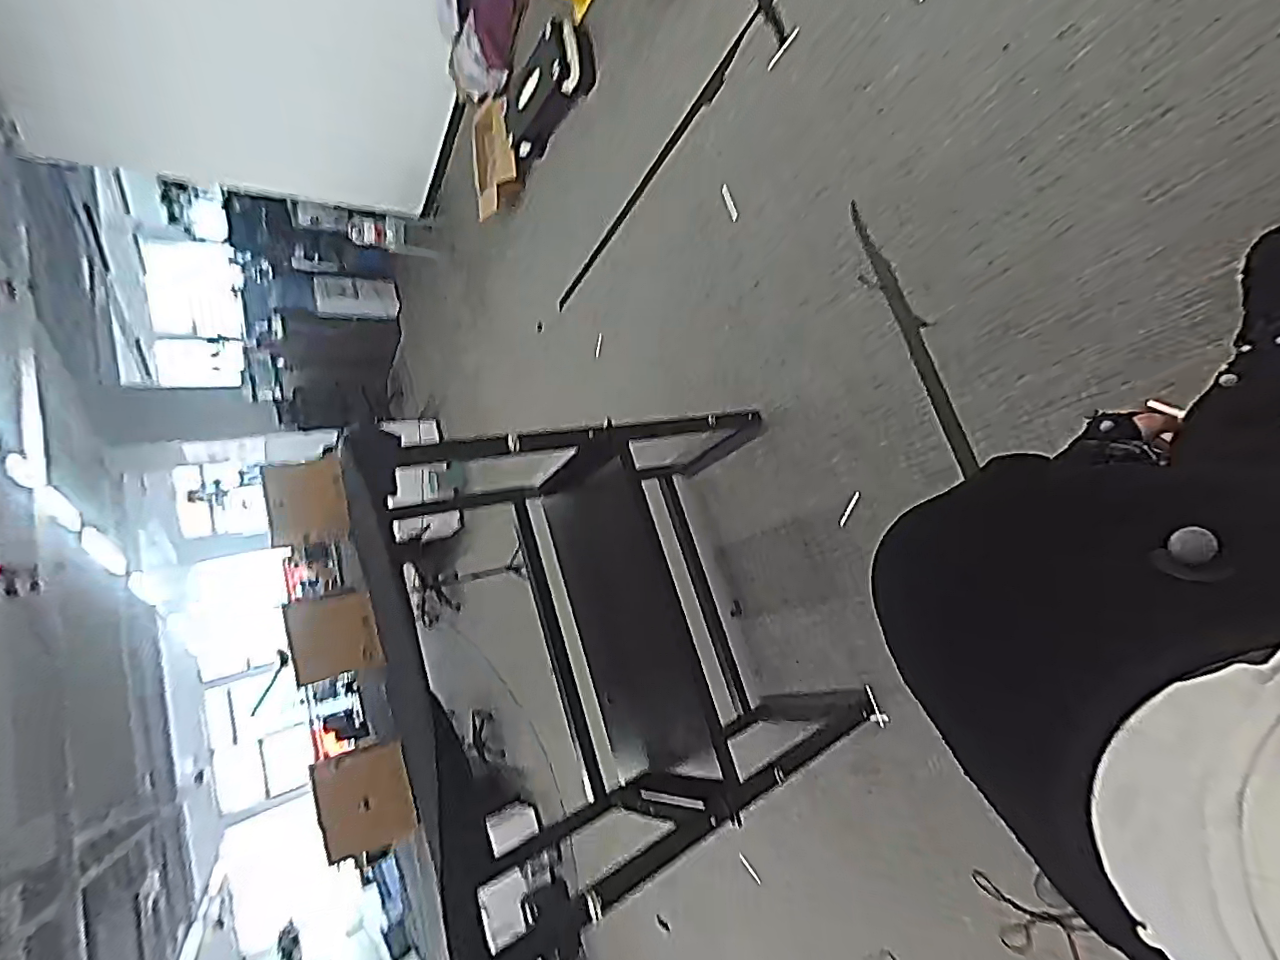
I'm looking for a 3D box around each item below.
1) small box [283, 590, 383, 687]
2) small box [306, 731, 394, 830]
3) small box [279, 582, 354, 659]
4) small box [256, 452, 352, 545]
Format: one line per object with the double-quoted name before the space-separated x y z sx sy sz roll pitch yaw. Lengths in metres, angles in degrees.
"small box" -0.697 0.358 1.232 0.179 0.176 0.168 -33 72 54
"small box" -0.747 0.766 1.398 0.179 0.176 0.168 -33 71 51
"small box" -0.877 0.384 1.487 0.179 0.176 0.168 -24 78 53
"small box" -0.805 0.044 1.303 0.179 0.176 0.168 -33 73 53
